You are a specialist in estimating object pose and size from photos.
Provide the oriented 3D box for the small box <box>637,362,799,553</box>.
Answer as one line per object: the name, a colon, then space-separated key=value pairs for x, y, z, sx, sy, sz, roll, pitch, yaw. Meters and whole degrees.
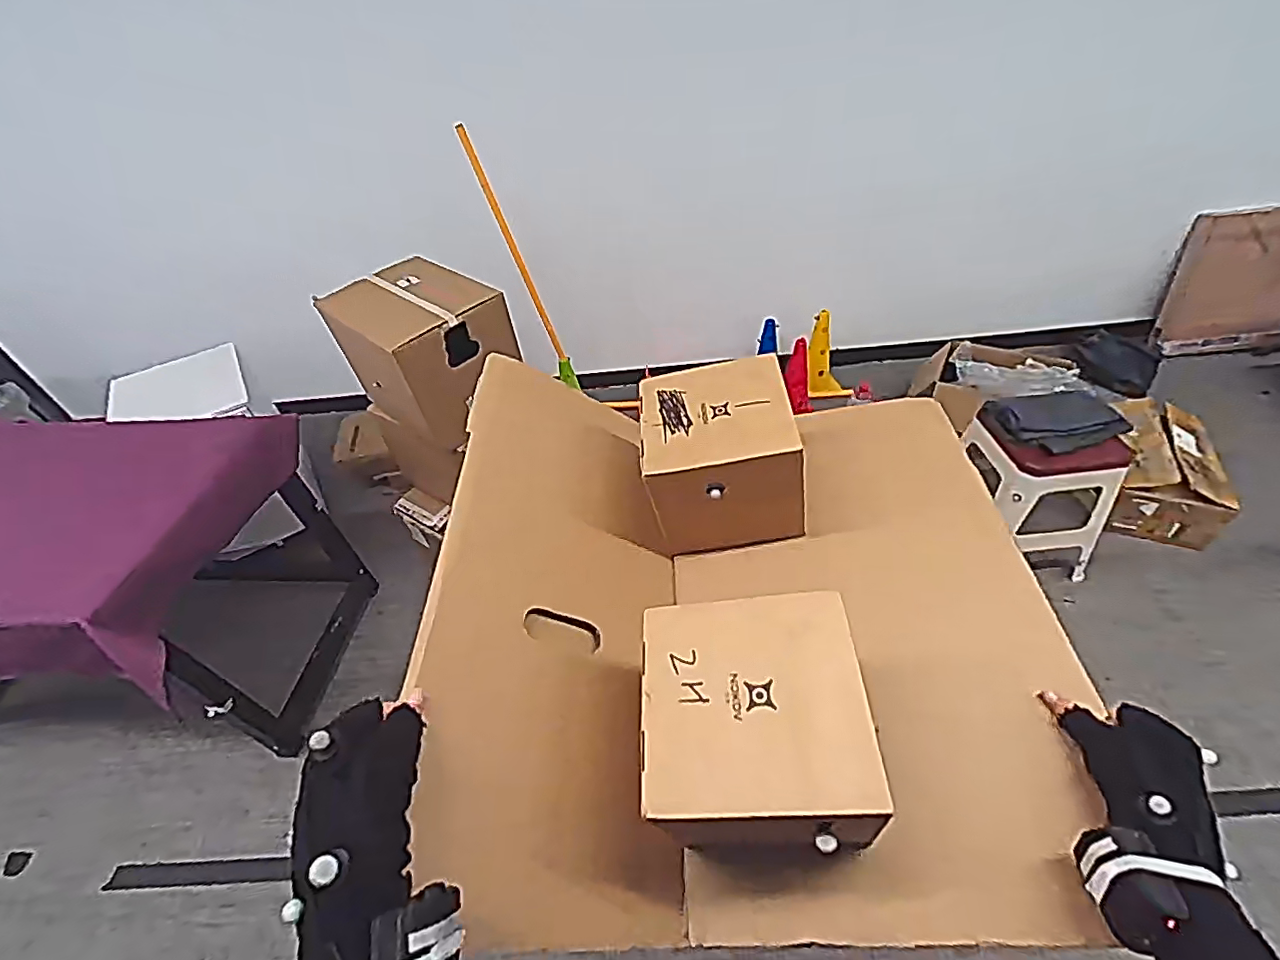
small box: x=0.101 y=-0.021 z=0.700 sx=0.179 sy=0.176 sz=0.168 roll=-10 pitch=49 yaw=10
